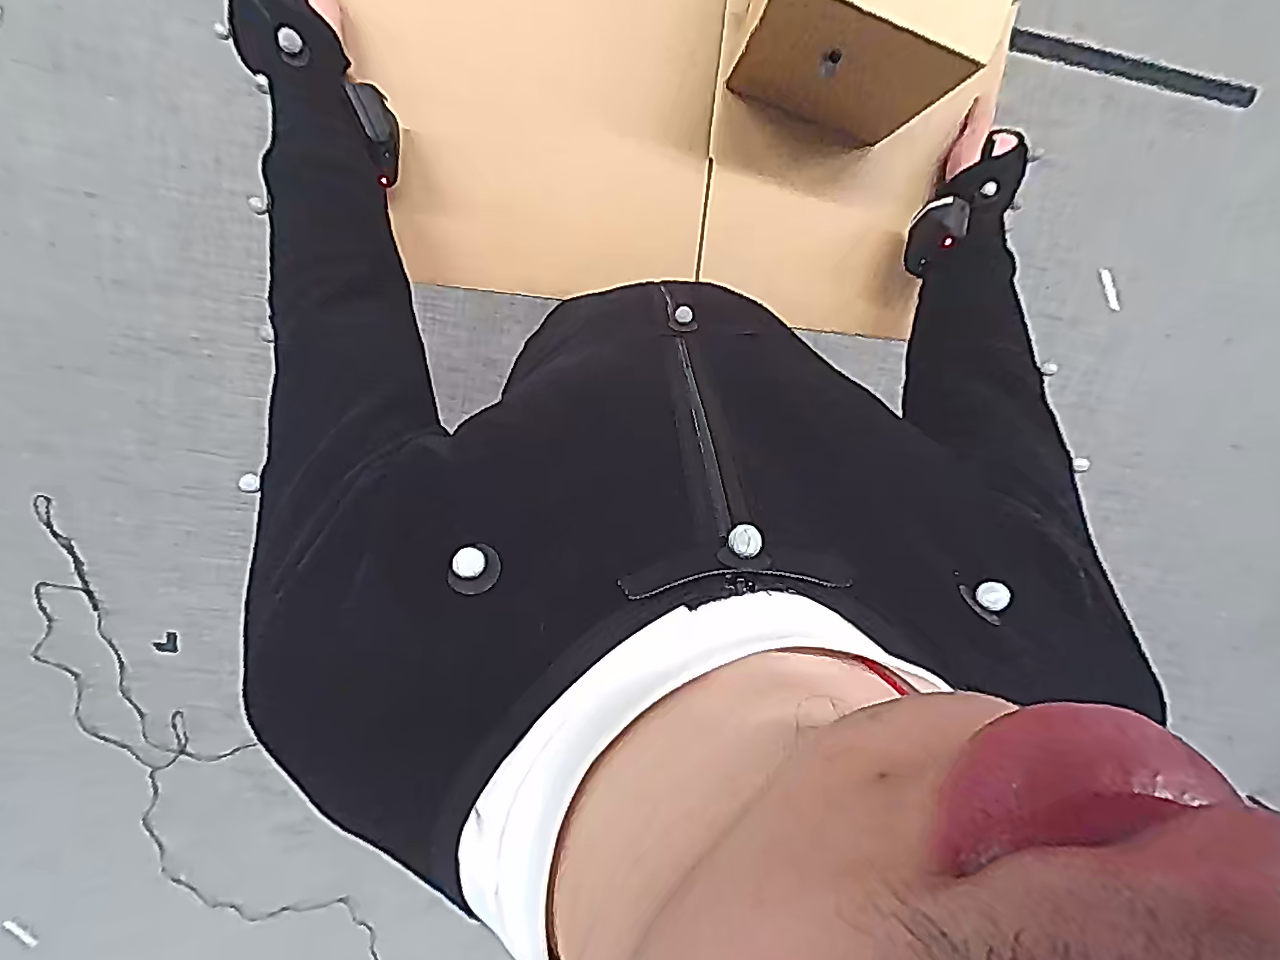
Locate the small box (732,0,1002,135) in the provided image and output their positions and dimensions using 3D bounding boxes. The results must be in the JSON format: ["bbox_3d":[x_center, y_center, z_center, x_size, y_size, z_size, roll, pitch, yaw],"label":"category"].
[{"bbox_3d":[0.197,-0.438,0.470,0.179,0.176,0.168,15,102,-8],"label":"small box"}]
